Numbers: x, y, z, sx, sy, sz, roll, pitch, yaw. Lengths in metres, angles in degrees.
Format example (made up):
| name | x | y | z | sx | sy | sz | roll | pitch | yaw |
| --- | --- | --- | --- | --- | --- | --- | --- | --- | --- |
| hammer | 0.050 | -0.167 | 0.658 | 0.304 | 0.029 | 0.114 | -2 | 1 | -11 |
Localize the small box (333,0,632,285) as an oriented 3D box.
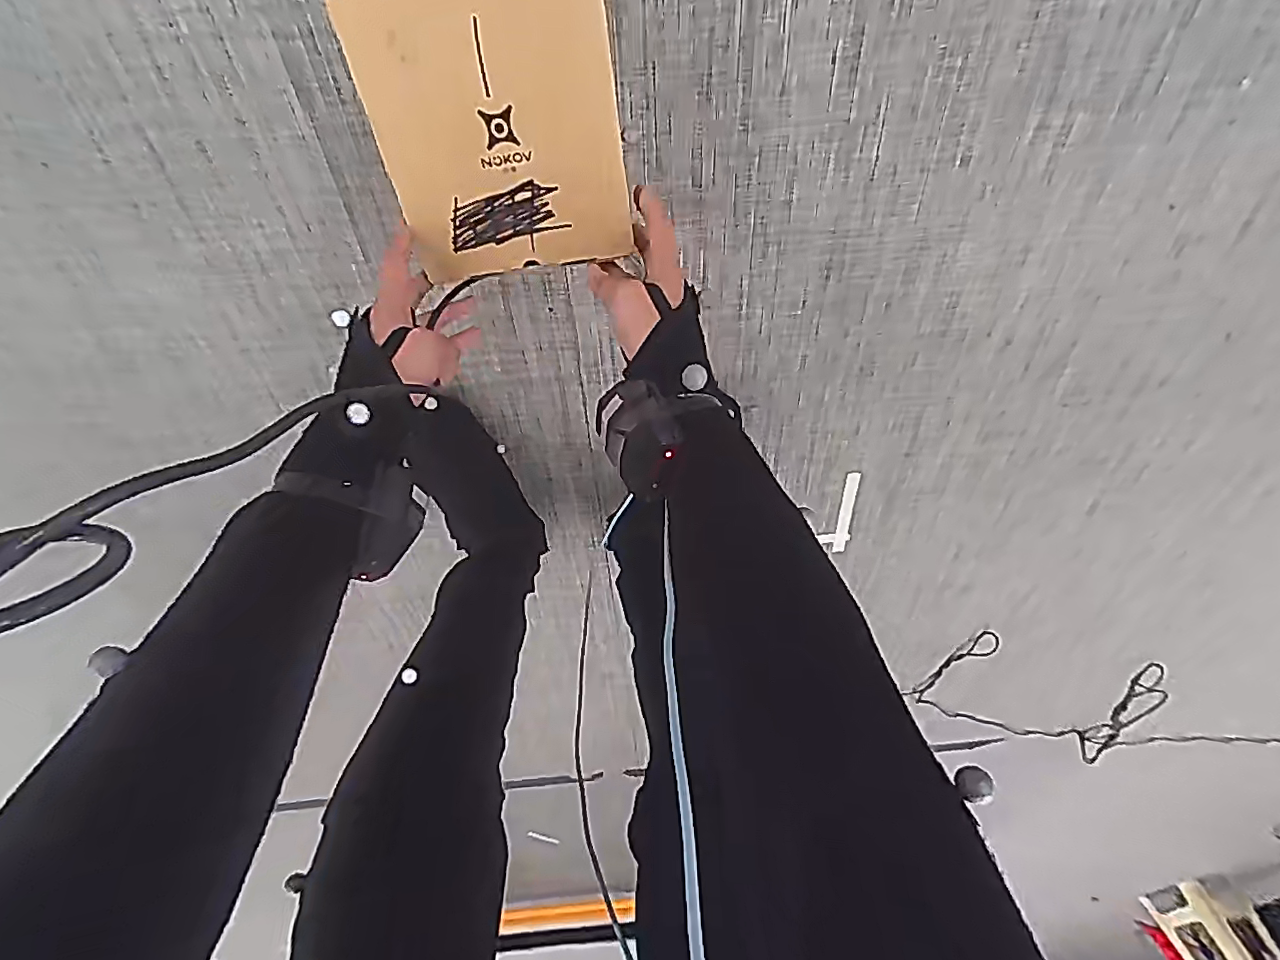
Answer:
| name | x | y | z | sx | sy | sz | roll | pitch | yaw |
| --- | --- | --- | --- | --- | --- | --- | --- | --- | --- |
| small box | -0.097 | -0.279 | 0.432 | 0.168 | 0.176 | 0.179 | -7 | 129 | 1 |
